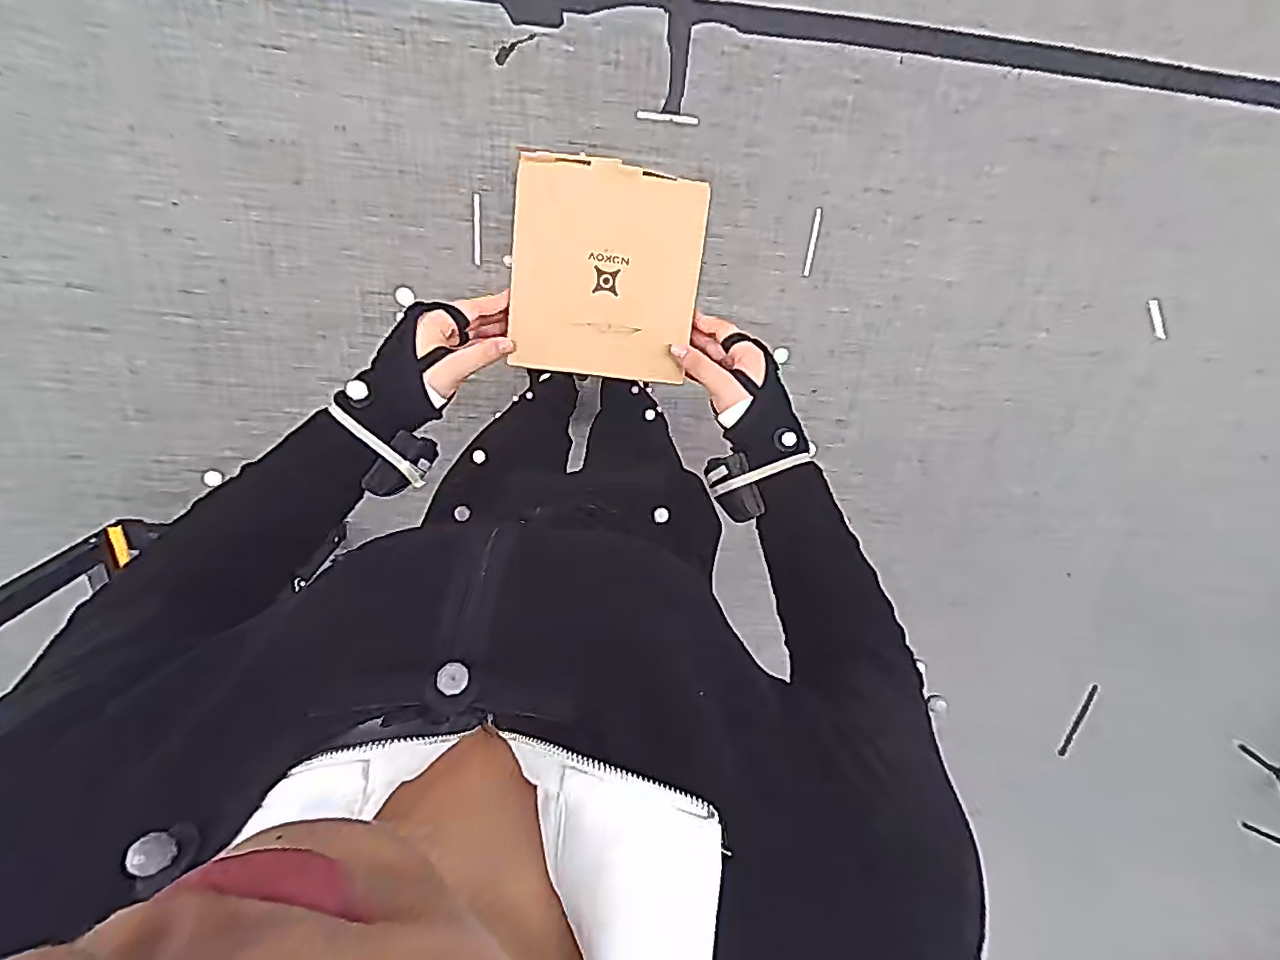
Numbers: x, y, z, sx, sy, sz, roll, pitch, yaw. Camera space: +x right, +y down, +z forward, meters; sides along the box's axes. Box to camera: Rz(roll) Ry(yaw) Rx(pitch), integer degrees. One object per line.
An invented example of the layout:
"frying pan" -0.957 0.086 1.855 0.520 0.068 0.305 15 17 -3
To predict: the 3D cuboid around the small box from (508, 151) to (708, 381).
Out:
"small box" -0.038 -0.205 0.556 0.168 0.176 0.179 5 105 -7
